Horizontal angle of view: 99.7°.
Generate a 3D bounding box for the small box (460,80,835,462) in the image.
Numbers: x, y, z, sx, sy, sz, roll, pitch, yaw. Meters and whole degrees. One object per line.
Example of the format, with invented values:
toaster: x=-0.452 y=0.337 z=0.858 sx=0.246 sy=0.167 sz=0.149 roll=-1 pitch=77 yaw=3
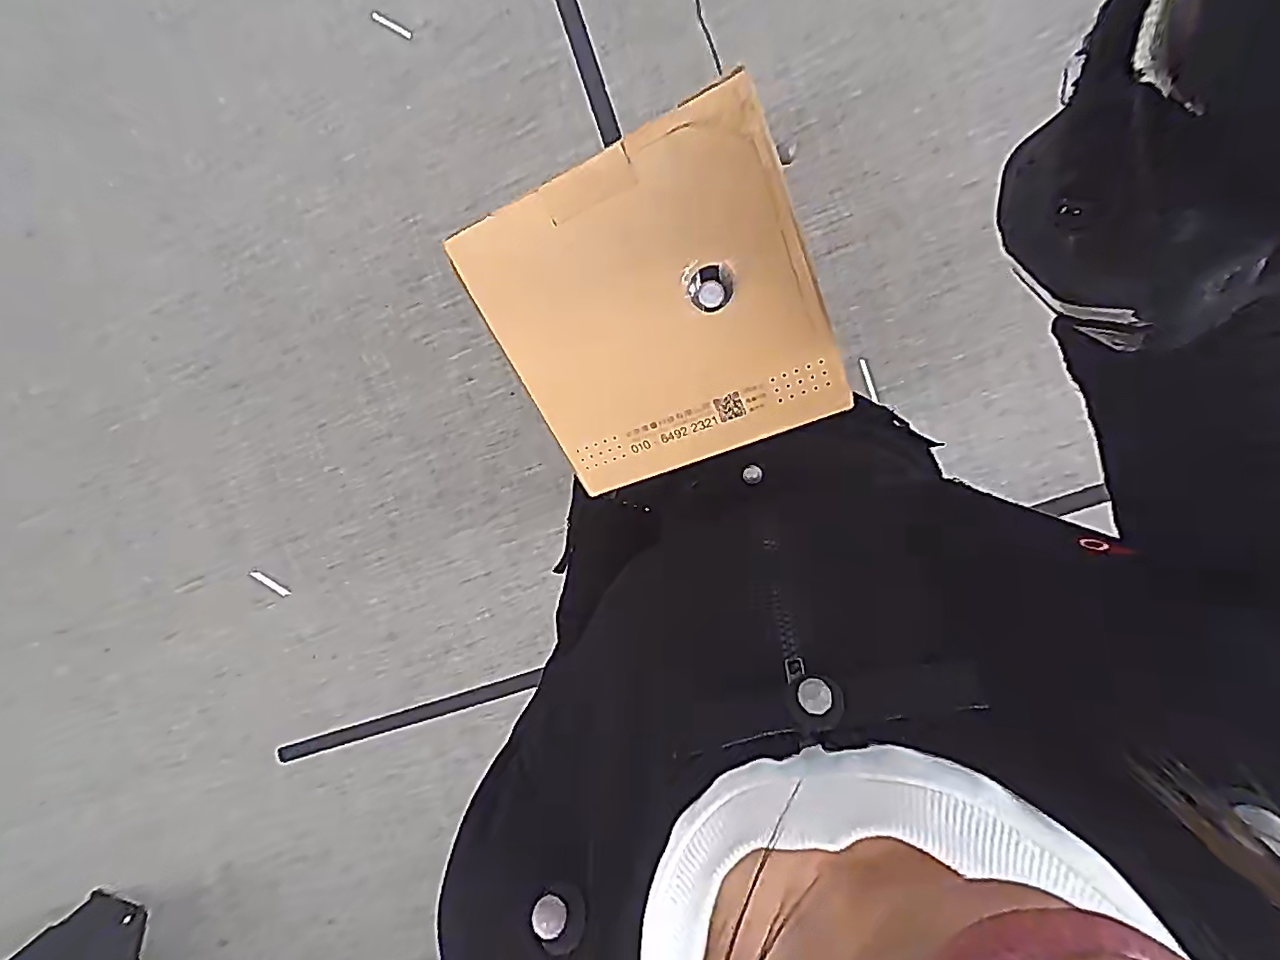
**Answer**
small box: x=0.021 y=-0.129 z=0.368 sx=0.168 sy=0.179 sz=0.176 roll=-18 pitch=117 yaw=21
